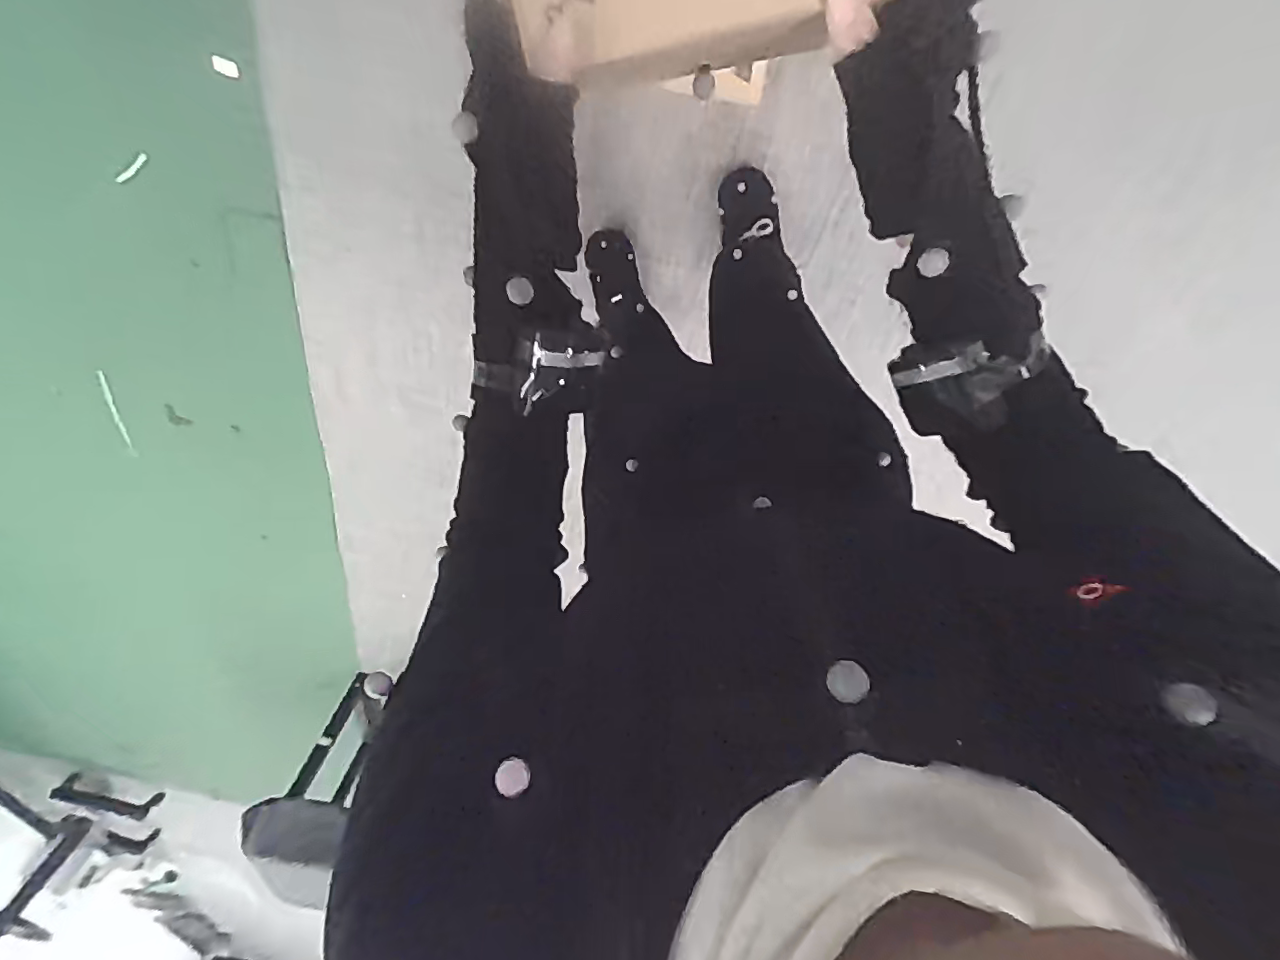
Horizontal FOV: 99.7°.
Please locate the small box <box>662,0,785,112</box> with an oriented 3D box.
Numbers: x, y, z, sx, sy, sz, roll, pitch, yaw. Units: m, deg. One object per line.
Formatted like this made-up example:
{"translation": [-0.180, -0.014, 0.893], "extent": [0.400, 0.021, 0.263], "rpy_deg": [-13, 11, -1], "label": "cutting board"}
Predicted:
{"translation": [0.136, -0.735, 0.913], "extent": [0.179, 0.176, 0.168], "rpy_deg": [7, 128, 3], "label": "small box"}
